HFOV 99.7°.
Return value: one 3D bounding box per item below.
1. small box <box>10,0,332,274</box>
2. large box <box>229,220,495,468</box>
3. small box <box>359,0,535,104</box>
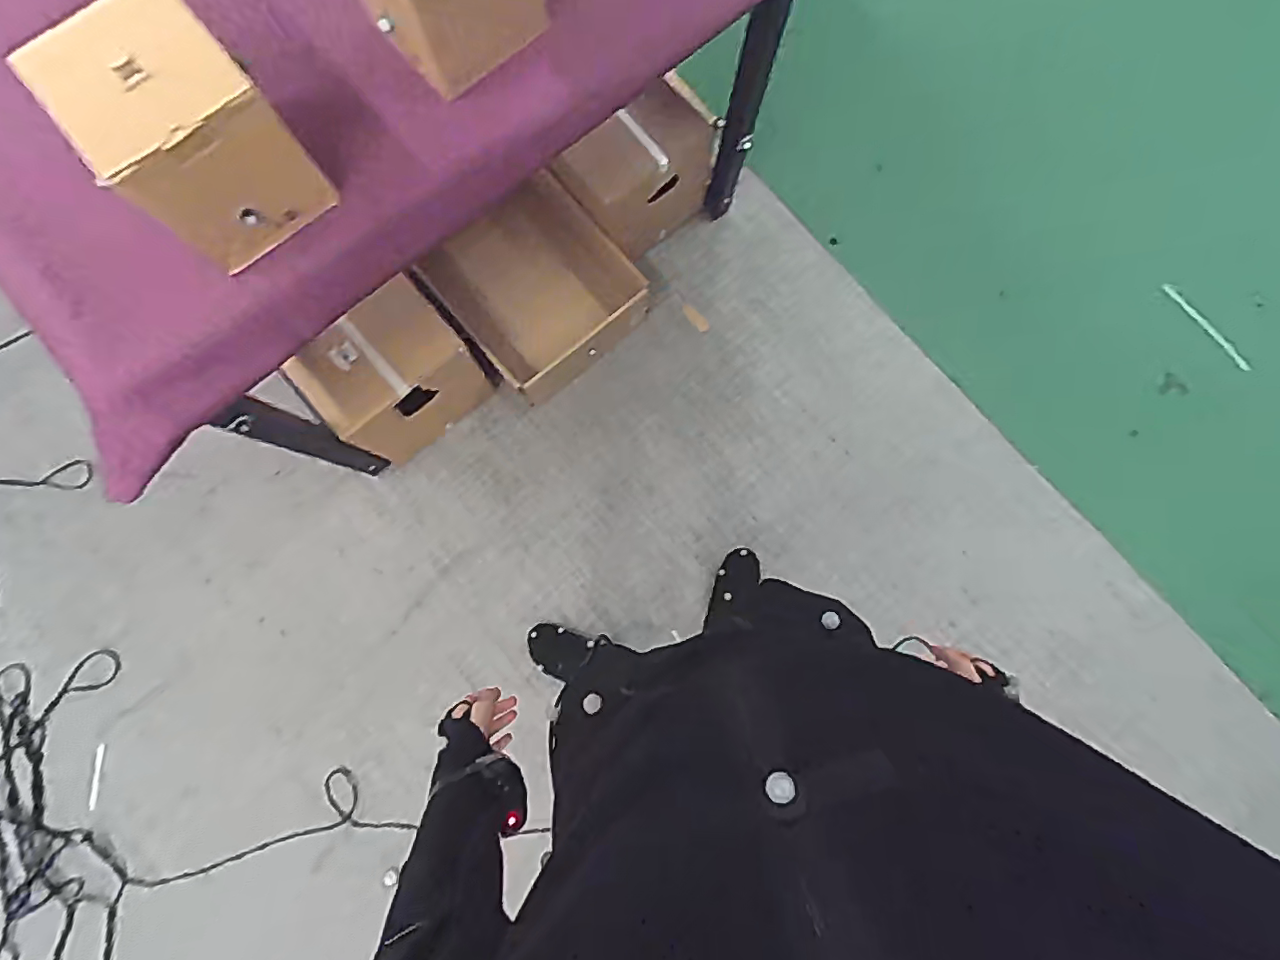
[{"bbox_3d":[-0.498,-0.373,0.605,0.168,0.176,0.179,-40,84,-7],"label":"small box"},{"bbox_3d":[-0.608,-0.291,1.259,0.320,0.320,0.408,-41,86,-7],"label":"large box"},{"bbox_3d":[-0.243,-0.612,0.644,0.179,0.176,0.168,-42,83,-6],"label":"small box"}]
